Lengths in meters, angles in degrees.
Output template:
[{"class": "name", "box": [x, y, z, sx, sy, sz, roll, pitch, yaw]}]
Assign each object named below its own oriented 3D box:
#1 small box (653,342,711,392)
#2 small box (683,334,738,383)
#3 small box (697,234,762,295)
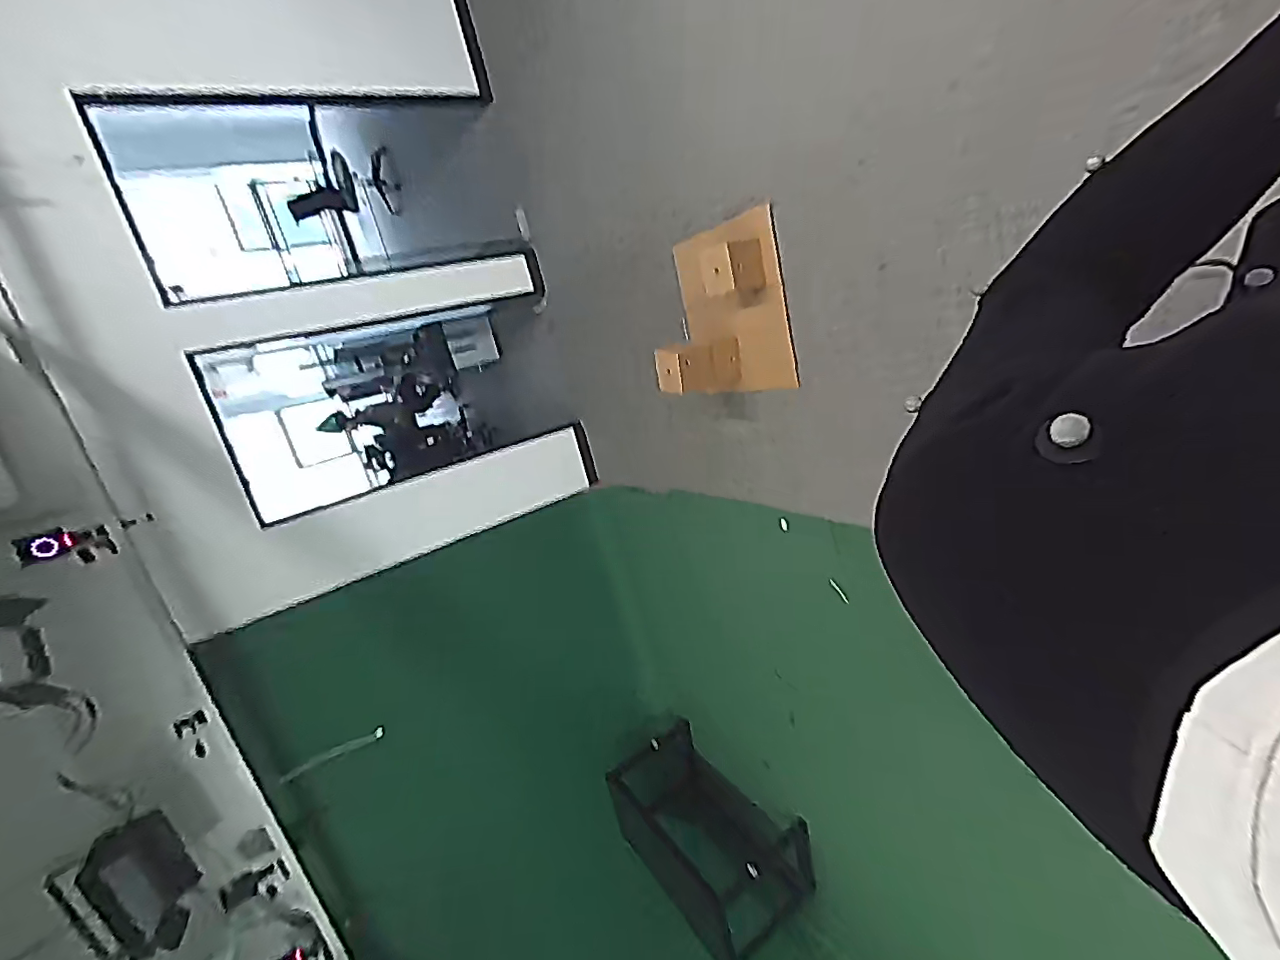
[{"class": "small box", "box": [0.179, -0.482, 2.277, 0.168, 0.176, 0.179, 22, 128, 53]}, {"class": "small box", "box": [0.311, -0.536, 2.363, 0.168, 0.176, 0.179, 23, 128, 53]}, {"class": "small box", "box": [0.351, -0.833, 2.092, 0.168, 0.176, 0.179, 12, 120, 56]}]
